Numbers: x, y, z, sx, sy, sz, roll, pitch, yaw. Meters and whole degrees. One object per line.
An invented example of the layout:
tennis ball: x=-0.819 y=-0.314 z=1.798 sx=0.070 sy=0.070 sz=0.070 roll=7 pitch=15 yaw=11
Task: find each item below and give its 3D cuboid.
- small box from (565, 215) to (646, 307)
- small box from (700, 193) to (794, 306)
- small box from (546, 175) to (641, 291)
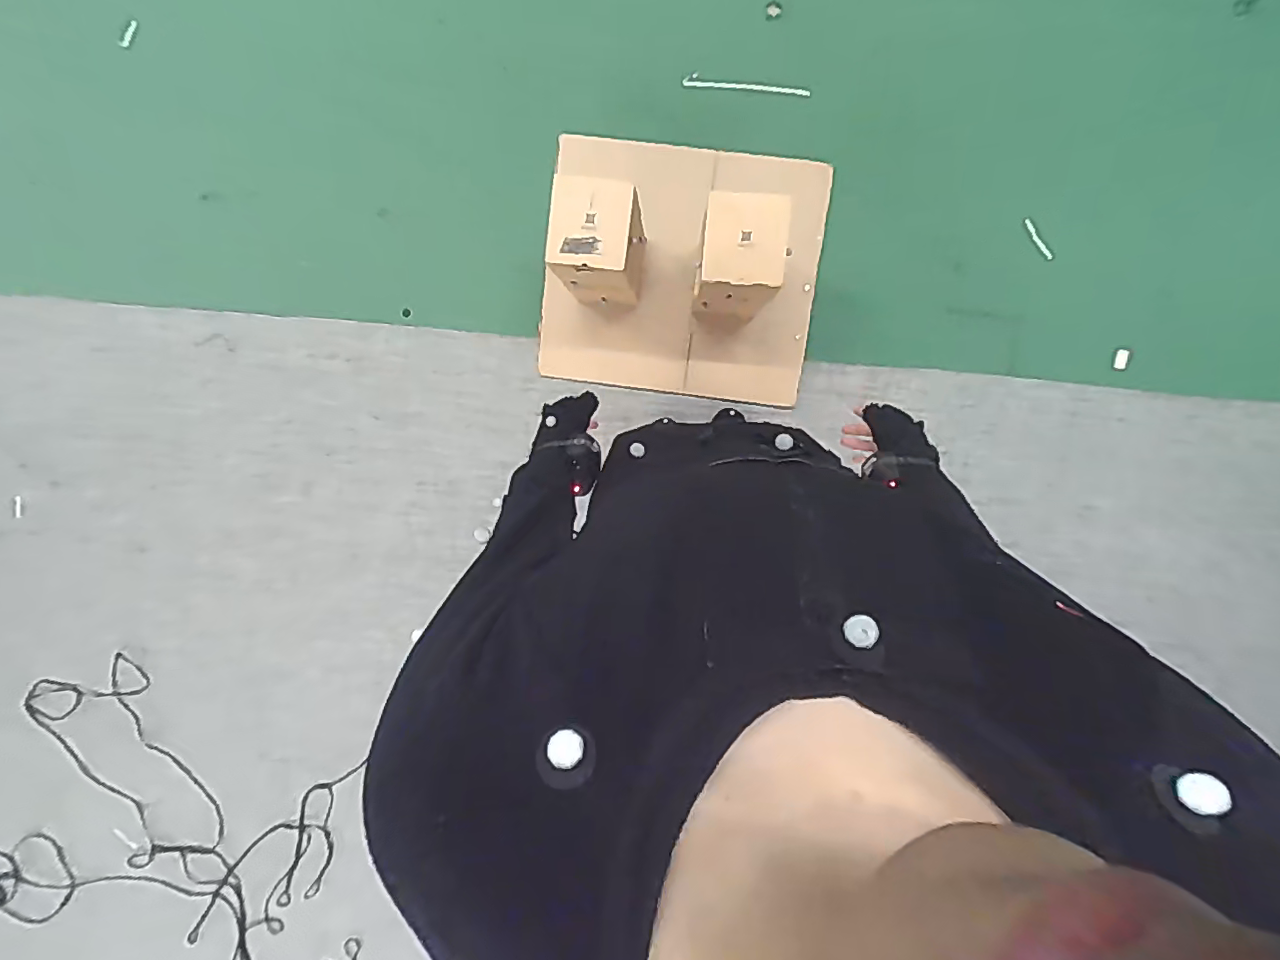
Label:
small box: x=-0.078 y=-0.534 z=1.318 sx=0.168 sy=0.176 sz=0.179 roll=7 pitch=97 yaw=4
small box: x=0.217 y=-0.480 z=1.144 sx=0.168 sy=0.176 sz=0.179 roll=4 pitch=97 yaw=3
small box: x=-0.091 y=-0.517 z=1.155 sx=0.168 sy=0.176 sz=0.179 roll=8 pitch=96 yaw=3
